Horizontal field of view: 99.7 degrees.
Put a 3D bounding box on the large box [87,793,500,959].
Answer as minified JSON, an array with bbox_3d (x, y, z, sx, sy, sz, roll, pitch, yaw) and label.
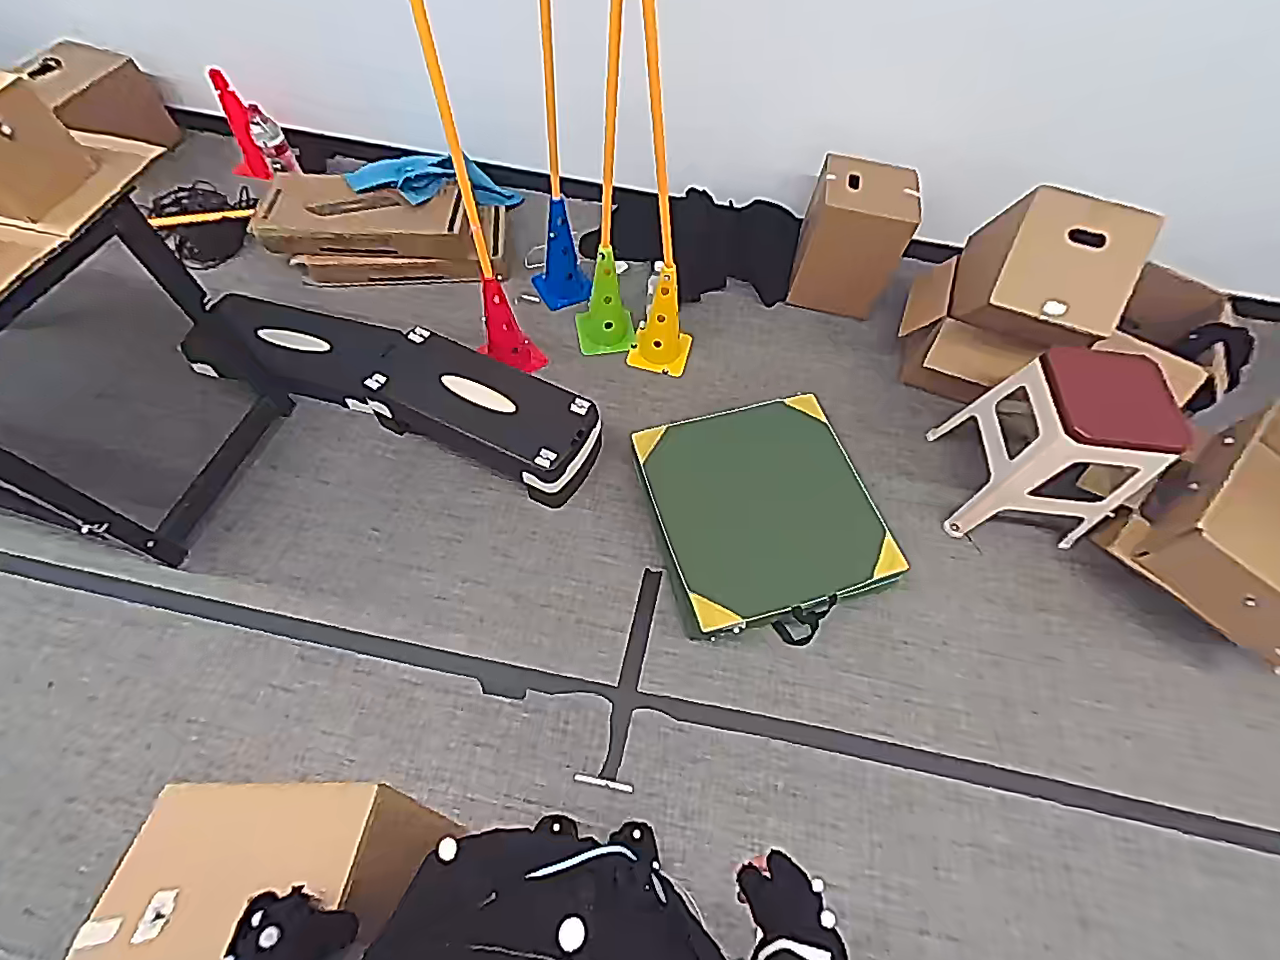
[{"bbox_3d":[-0.433,0.636,0.721,0.320,0.408,0.320,-3,47,10],"label":"large box"}]
